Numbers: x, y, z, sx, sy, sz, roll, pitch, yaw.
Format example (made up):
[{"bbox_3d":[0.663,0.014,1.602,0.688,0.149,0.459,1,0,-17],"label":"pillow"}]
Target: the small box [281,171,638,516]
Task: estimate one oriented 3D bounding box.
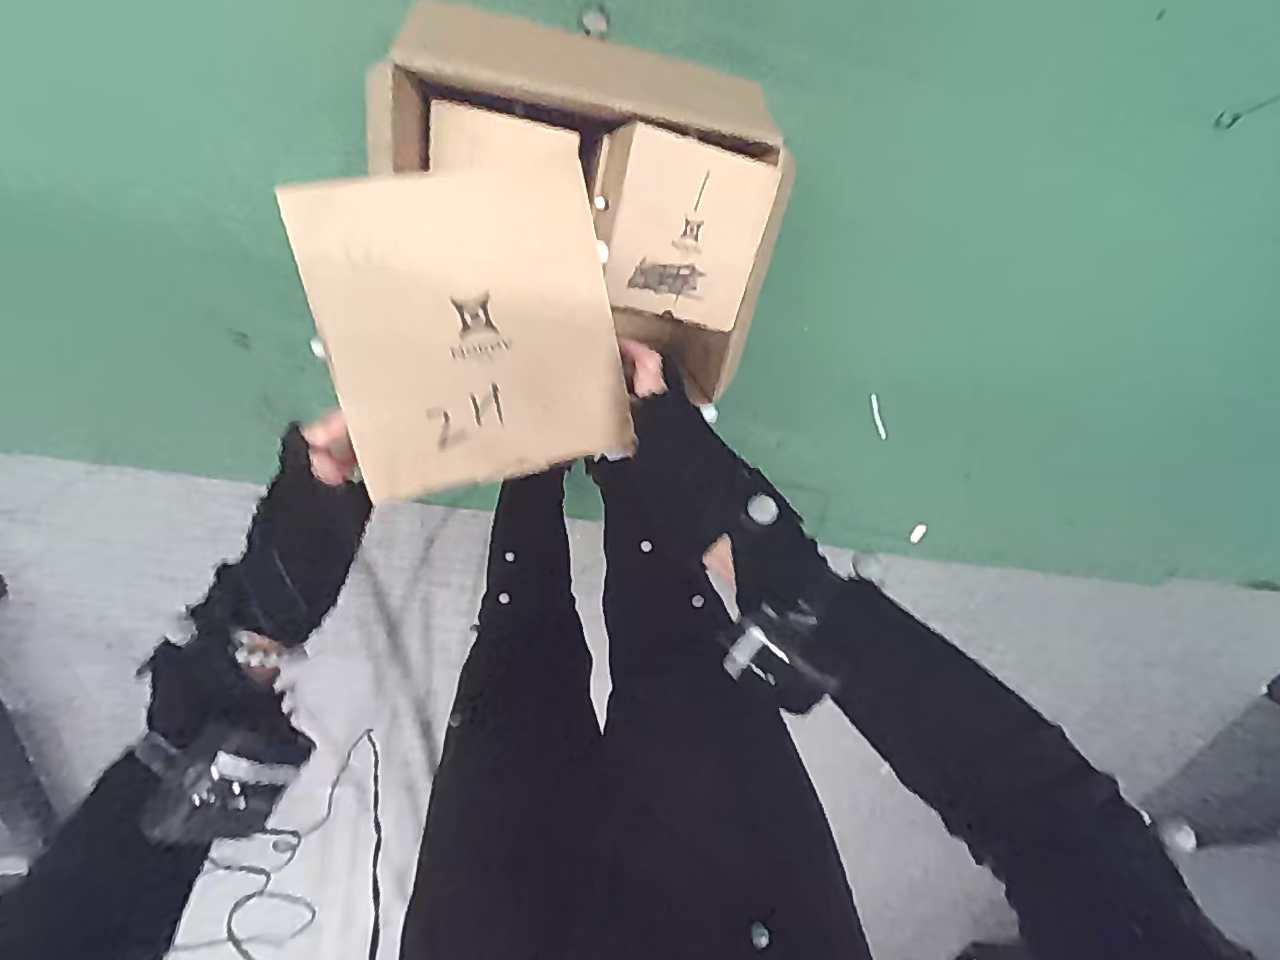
[{"bbox_3d":[-0.118,-0.090,0.389,0.168,0.176,0.179,-15,102,-15],"label":"small box"}]
